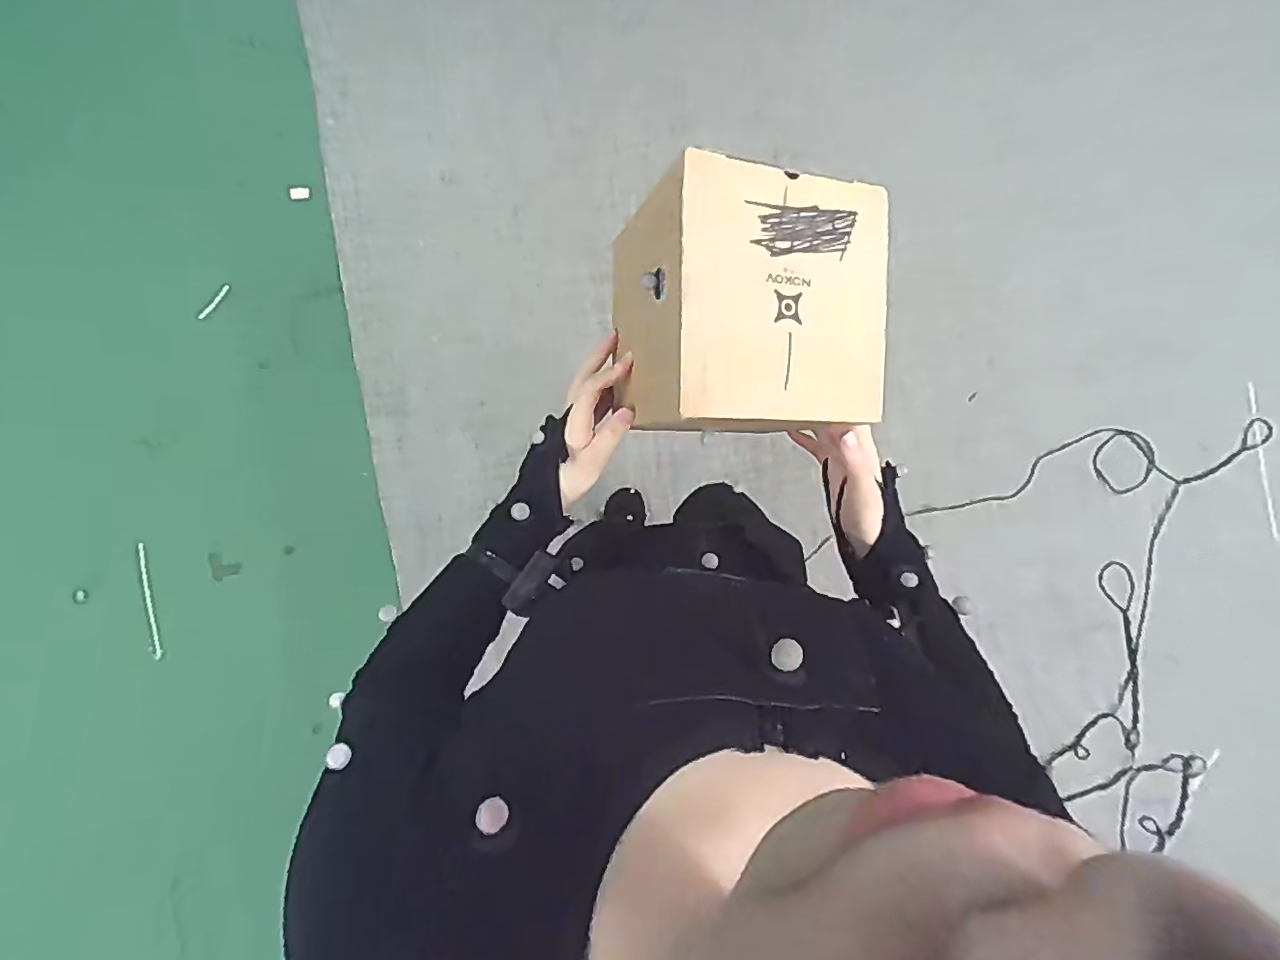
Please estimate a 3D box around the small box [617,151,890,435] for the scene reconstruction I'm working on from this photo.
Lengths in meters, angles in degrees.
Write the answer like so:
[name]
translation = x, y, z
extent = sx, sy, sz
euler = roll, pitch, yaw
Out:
[small box]
translation = 0.082, -0.131, 0.456
extent = 0.168, 0.176, 0.179
euler = 0, 93, -19
